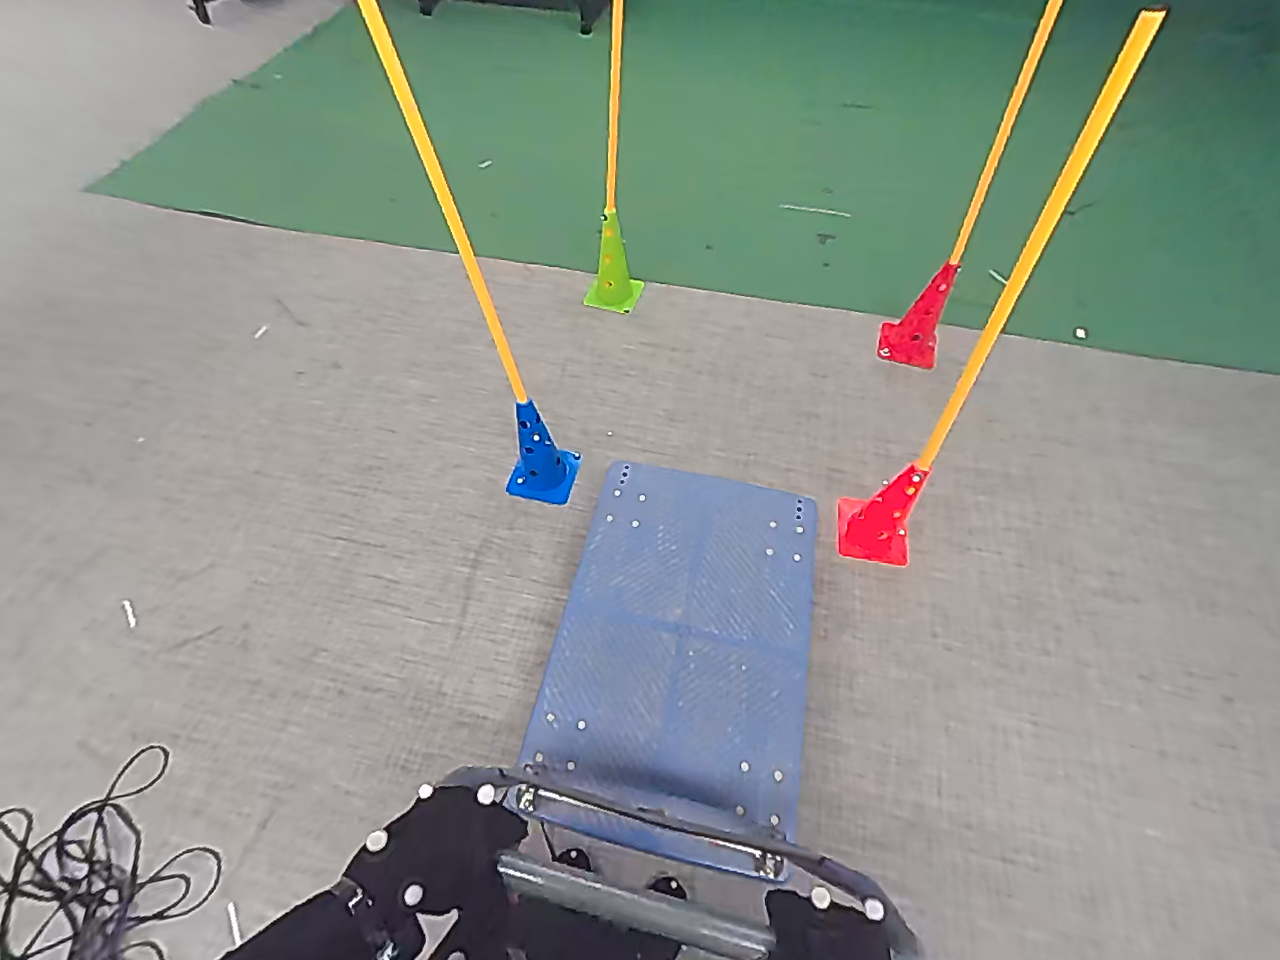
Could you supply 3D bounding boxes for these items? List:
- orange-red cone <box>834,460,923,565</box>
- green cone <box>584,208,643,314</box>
[{"bbox_3d":[0.676,0.061,1.469,0.199,0.360,0.198,10,58,8],"label":"orange-red cone"},{"bbox_3d":[-0.109,-0.840,2.027,0.202,0.368,0.200,15,59,10],"label":"green cone"}]
